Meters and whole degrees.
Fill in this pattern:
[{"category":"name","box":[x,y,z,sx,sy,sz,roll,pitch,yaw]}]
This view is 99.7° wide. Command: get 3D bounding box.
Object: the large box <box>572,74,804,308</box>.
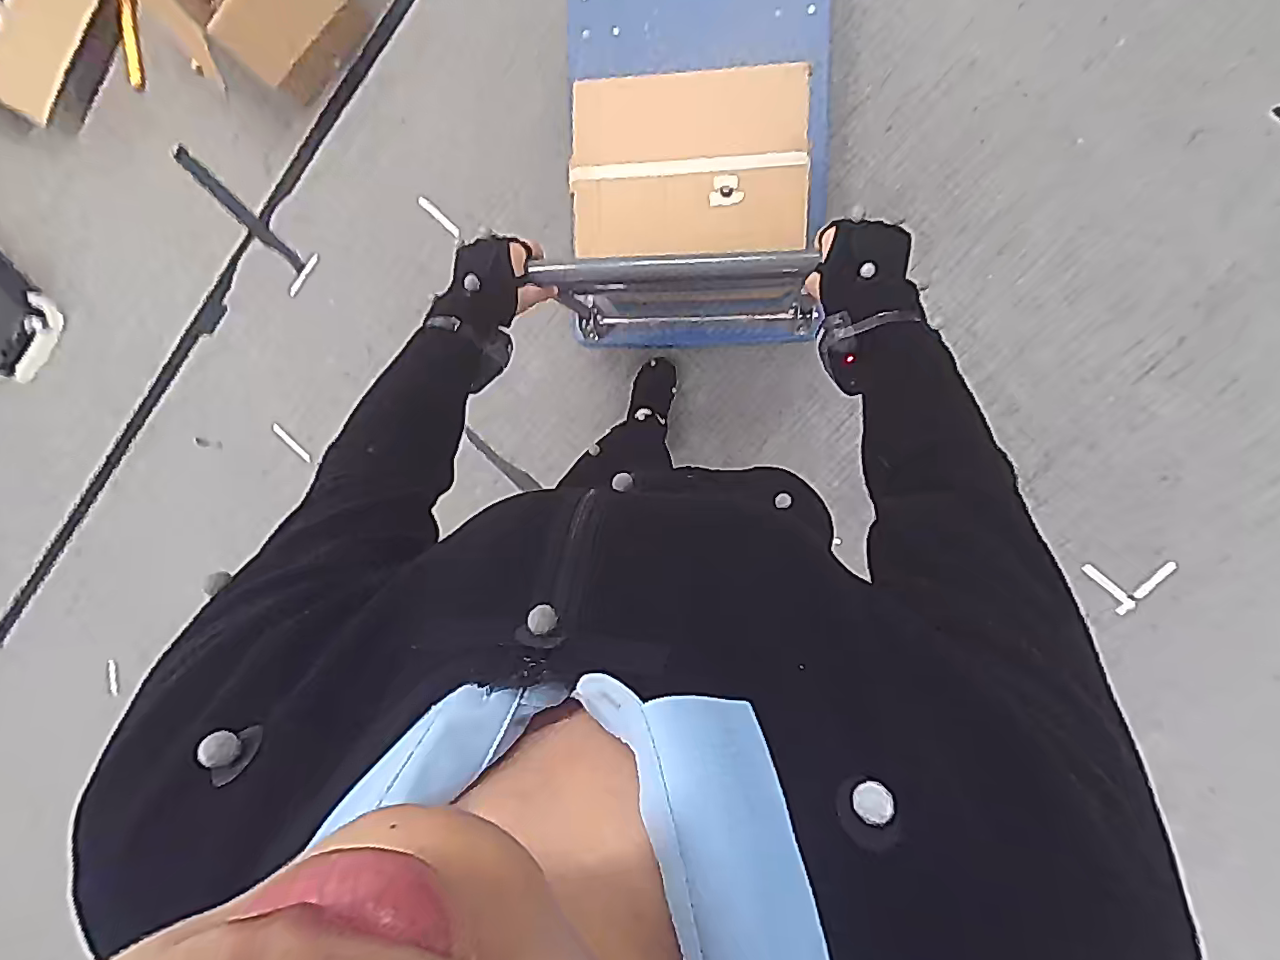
[{"category":"large box","box":[0.094,-0.541,1.086,0.408,0.320,0.320,0,96,6]}]
